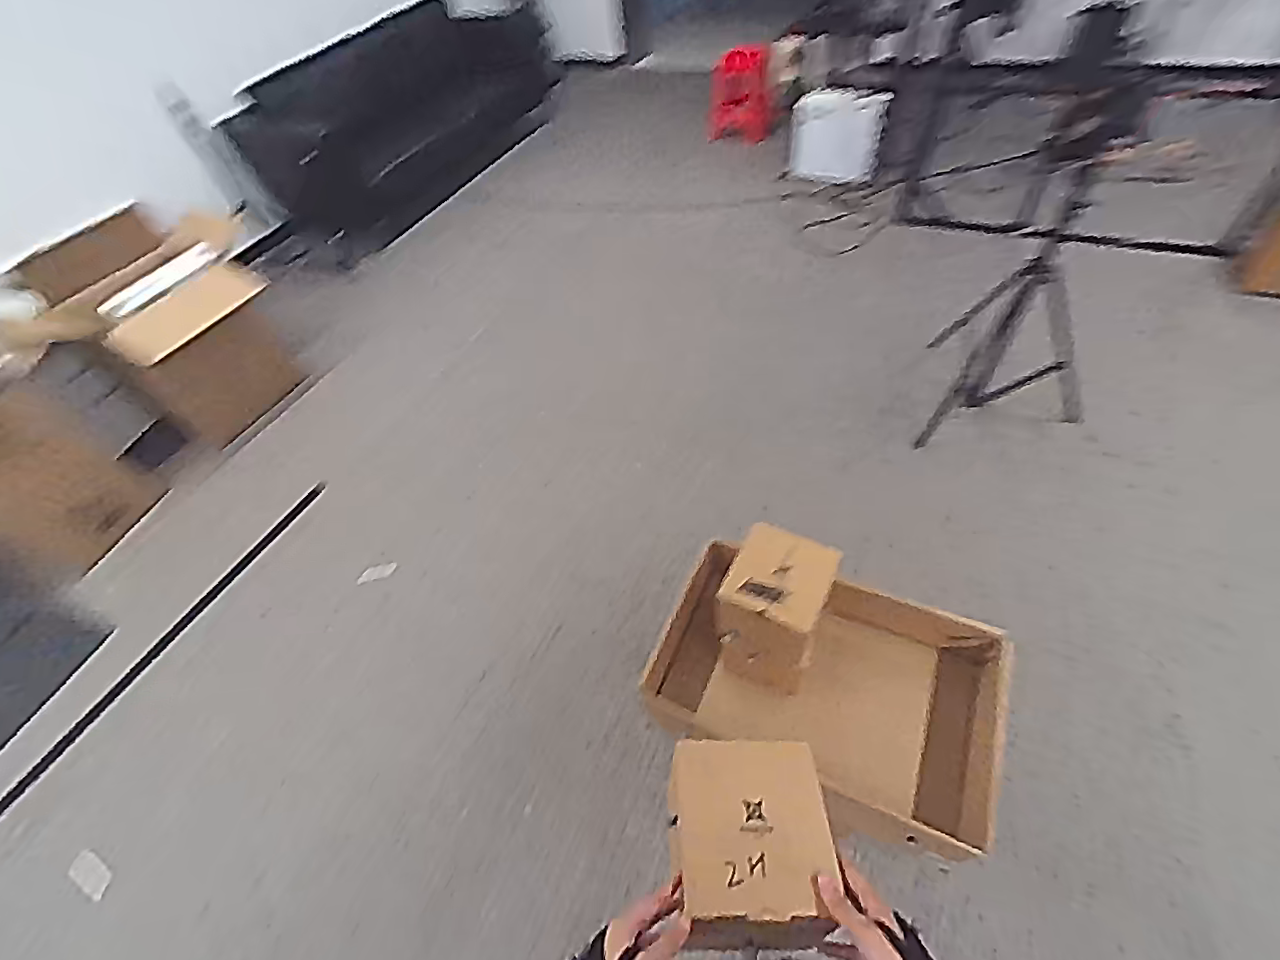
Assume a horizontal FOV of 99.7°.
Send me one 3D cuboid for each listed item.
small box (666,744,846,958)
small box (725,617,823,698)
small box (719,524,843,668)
[{"bbox_3d":[0.122,0.446,0.654,0.168,0.176,0.179,1,40,-2],"label":"small box"},{"bbox_3d":[0.281,0.326,1.141,0.168,0.176,0.179,16,55,19],"label":"small box"},{"bbox_3d":[0.260,0.221,1.015,0.168,0.176,0.179,22,57,22],"label":"small box"}]
